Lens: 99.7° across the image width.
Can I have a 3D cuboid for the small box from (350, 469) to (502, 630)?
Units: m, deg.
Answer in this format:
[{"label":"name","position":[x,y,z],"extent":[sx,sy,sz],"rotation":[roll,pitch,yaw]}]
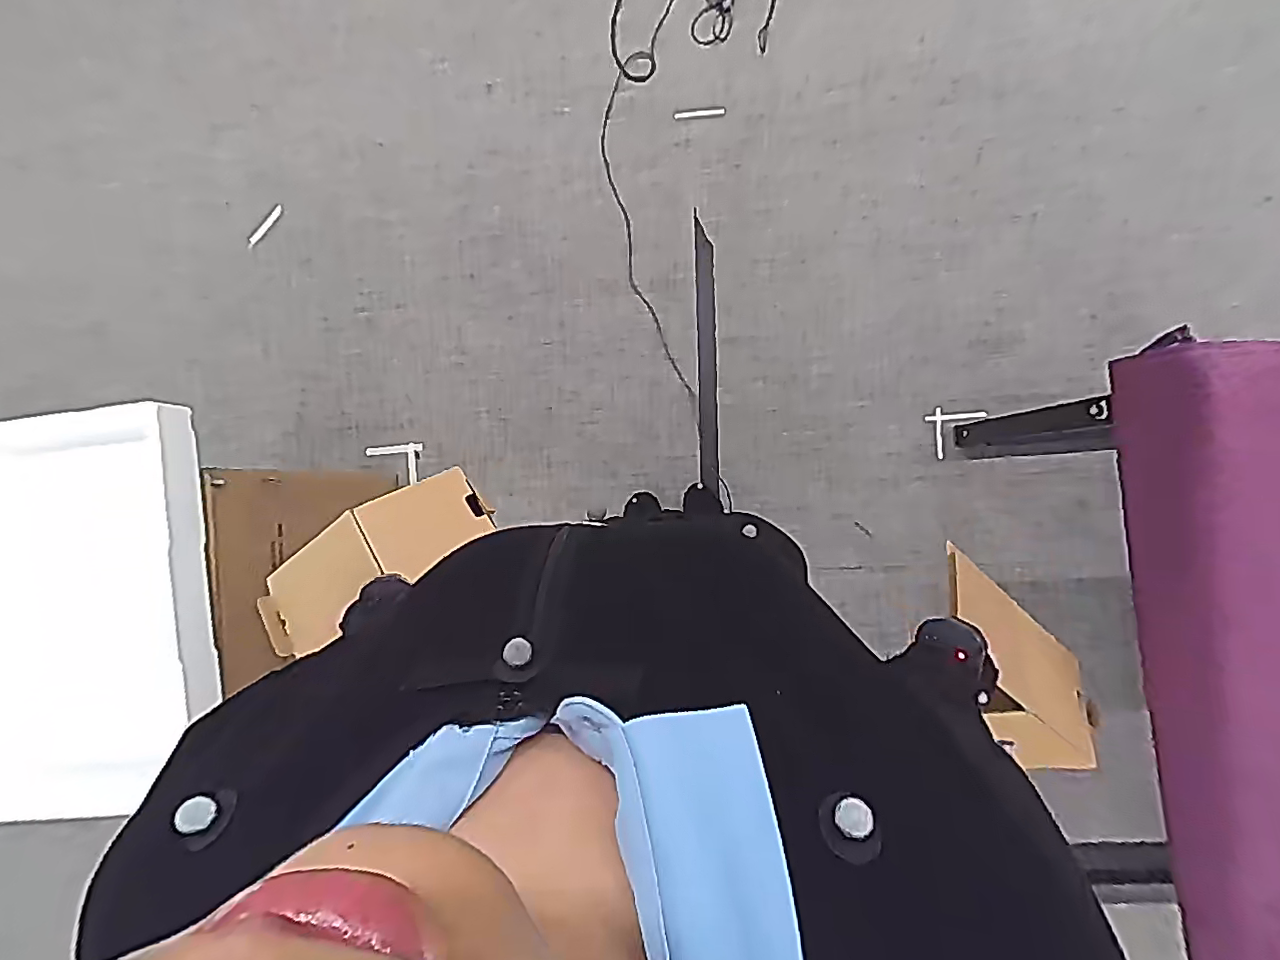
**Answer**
[{"label":"small box","position":[-0.336,0.117,0.880],"extent":[0.179,0.176,0.168],"rotation":[-26,67,-27]}]
